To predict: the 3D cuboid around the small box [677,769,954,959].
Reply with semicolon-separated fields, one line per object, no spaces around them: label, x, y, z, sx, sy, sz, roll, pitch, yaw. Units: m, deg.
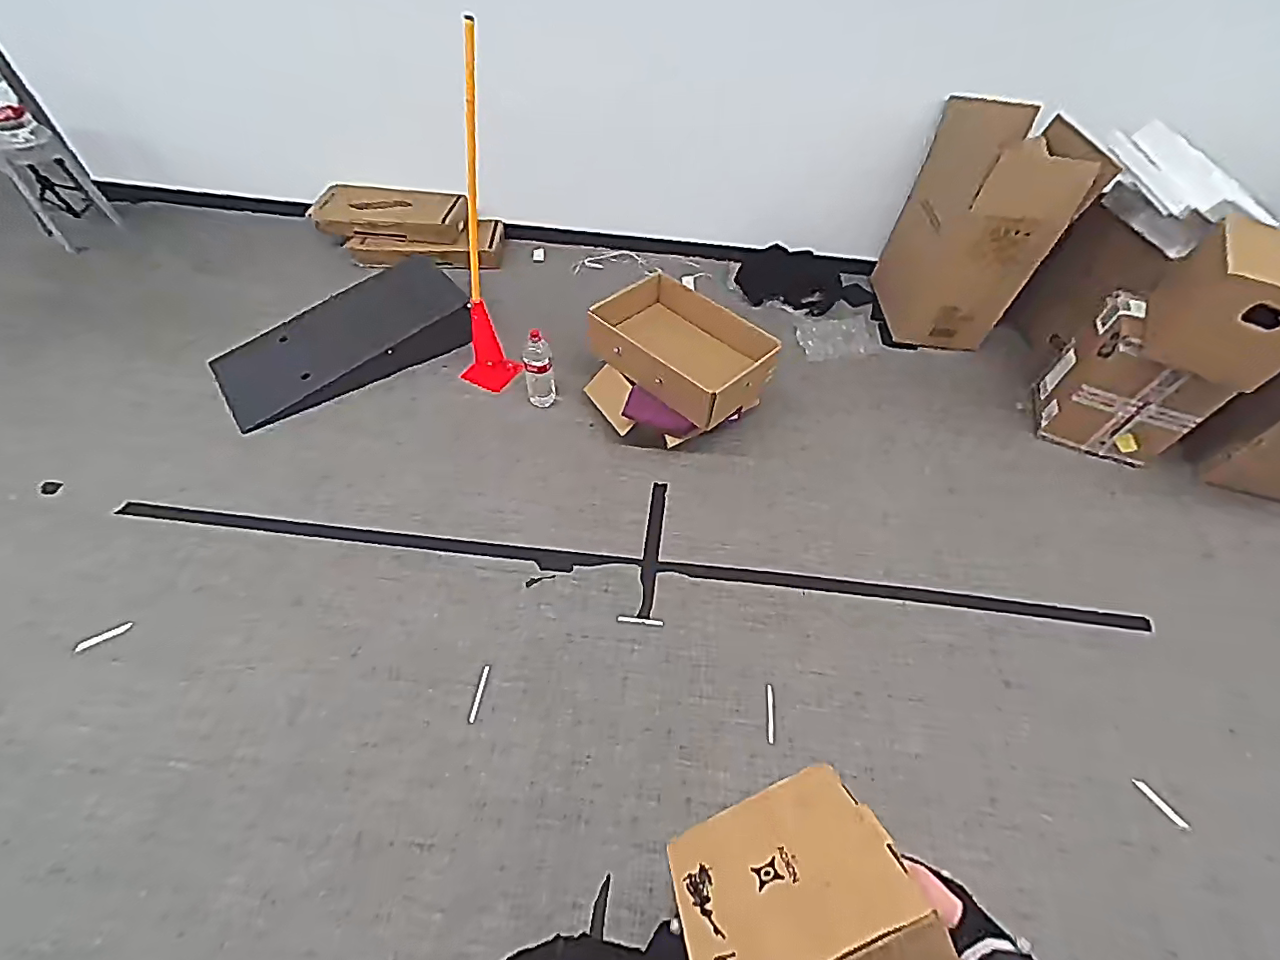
small box;0.153;0.400;0.461;0.179;0.168;0.176;-24;96;-4
